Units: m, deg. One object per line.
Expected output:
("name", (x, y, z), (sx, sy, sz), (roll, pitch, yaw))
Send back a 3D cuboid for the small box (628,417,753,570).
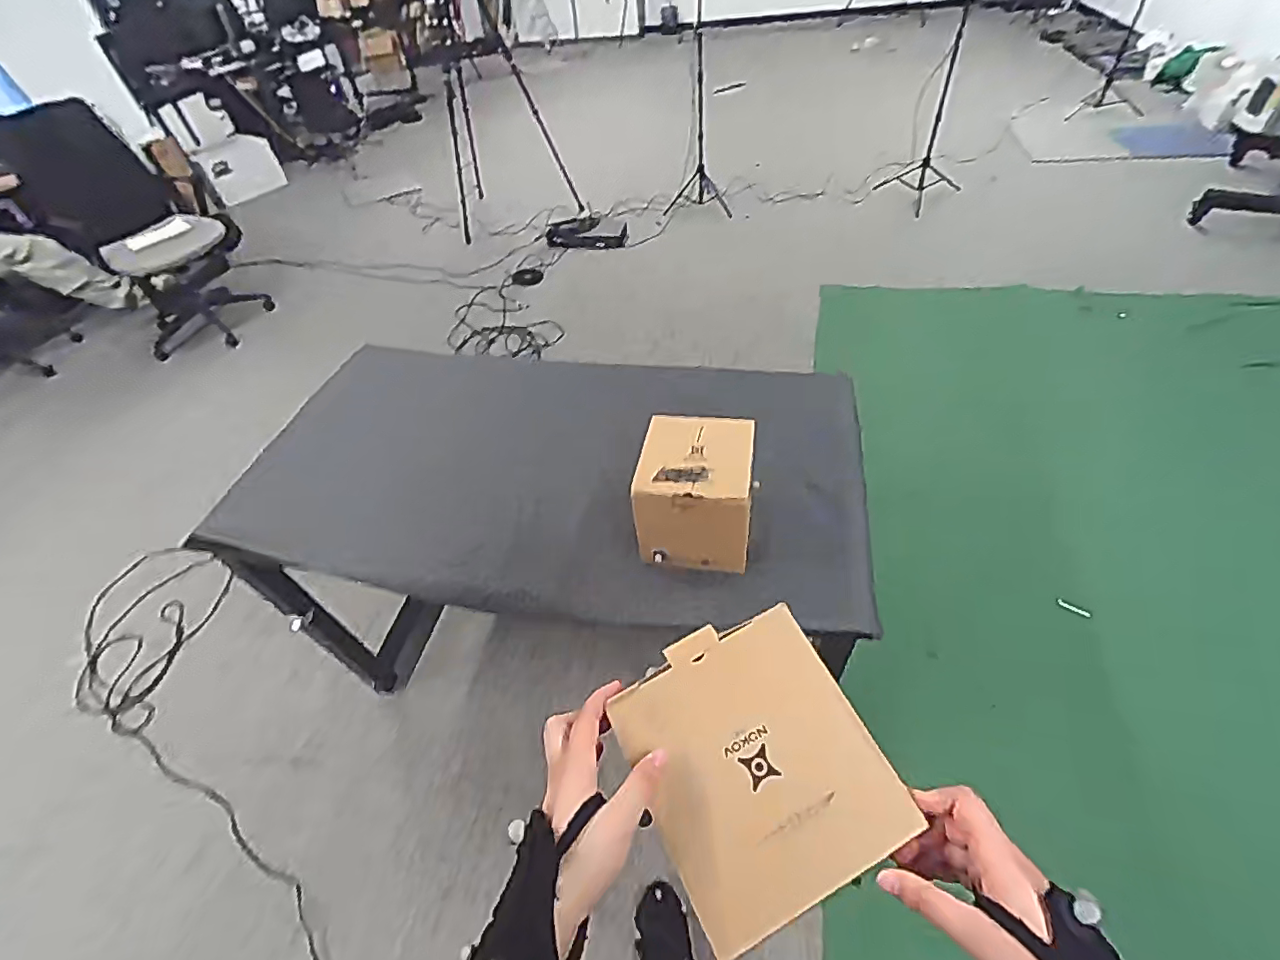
("small box", (0.088, 0.022, 0.850), (0.168, 0.176, 0.179), (4, 45, 12))
